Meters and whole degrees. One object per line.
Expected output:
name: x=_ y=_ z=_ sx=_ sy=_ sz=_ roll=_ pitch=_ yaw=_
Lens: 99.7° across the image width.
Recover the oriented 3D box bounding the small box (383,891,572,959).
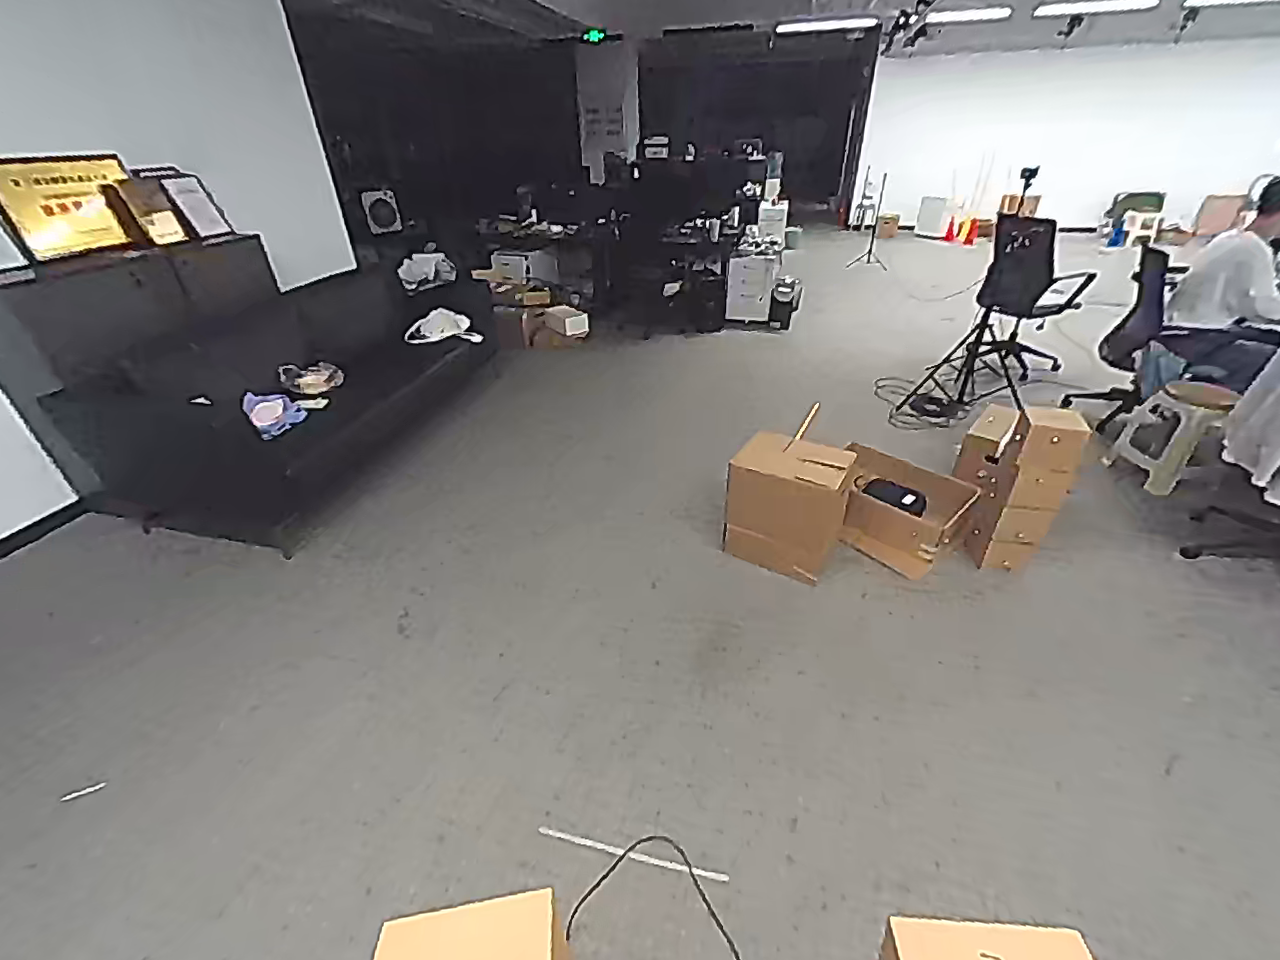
small box: x=-0.145 y=0.528 z=0.489 sx=0.168 sy=0.176 sz=0.179 roll=-9 pitch=22 yaw=-4
